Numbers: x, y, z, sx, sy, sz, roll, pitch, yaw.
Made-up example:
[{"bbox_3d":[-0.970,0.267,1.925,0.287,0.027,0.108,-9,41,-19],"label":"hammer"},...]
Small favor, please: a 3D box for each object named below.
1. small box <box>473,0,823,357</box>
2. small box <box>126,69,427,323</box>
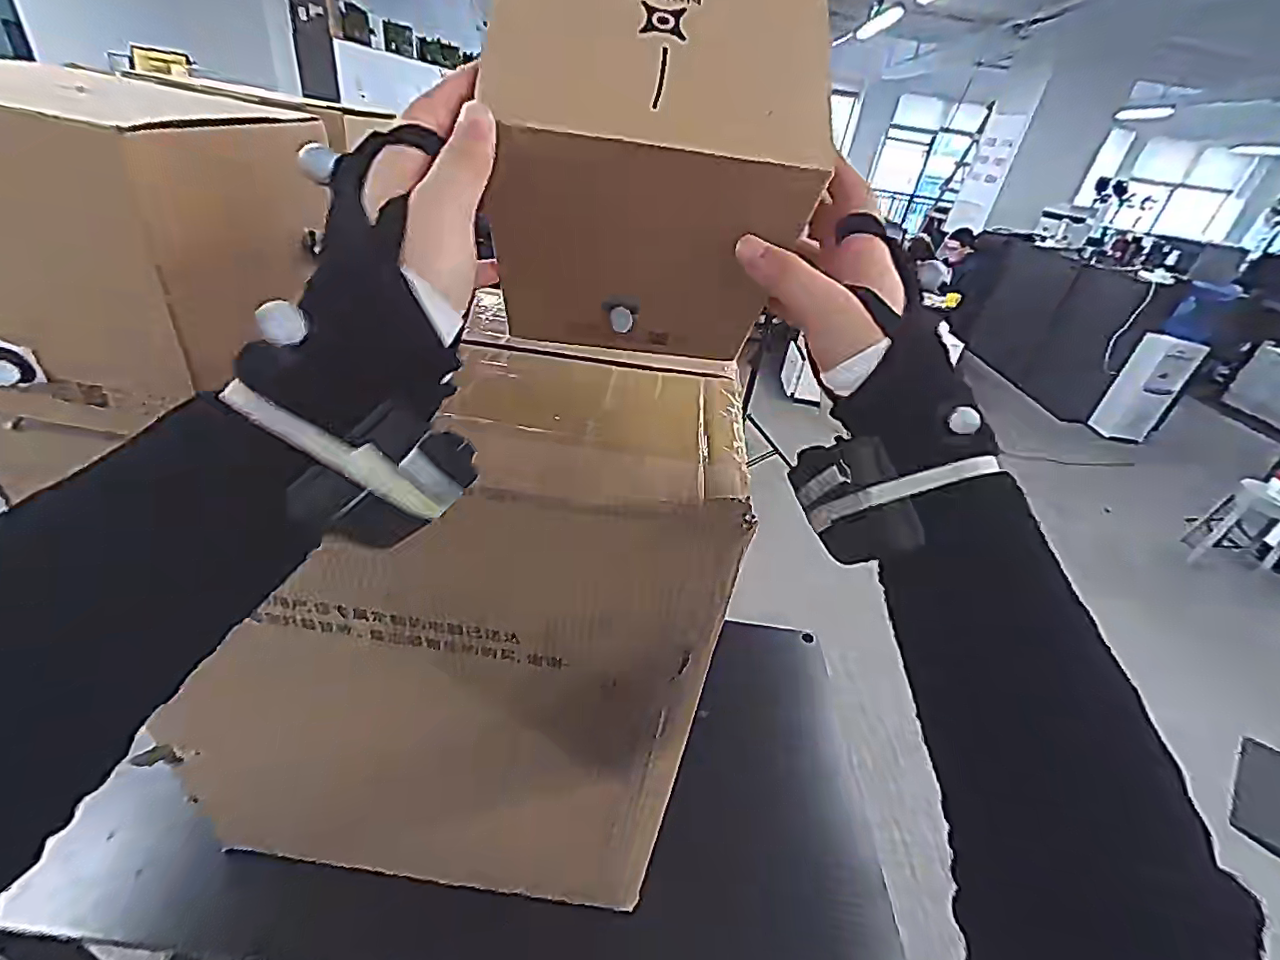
[{"bbox_3d":[0.000,-0.207,0.350,0.168,0.176,0.179,5,69,-5],"label":"small box"},{"bbox_3d":[-0.316,-0.264,0.519,0.168,0.176,0.179,8,30,-3],"label":"small box"}]
